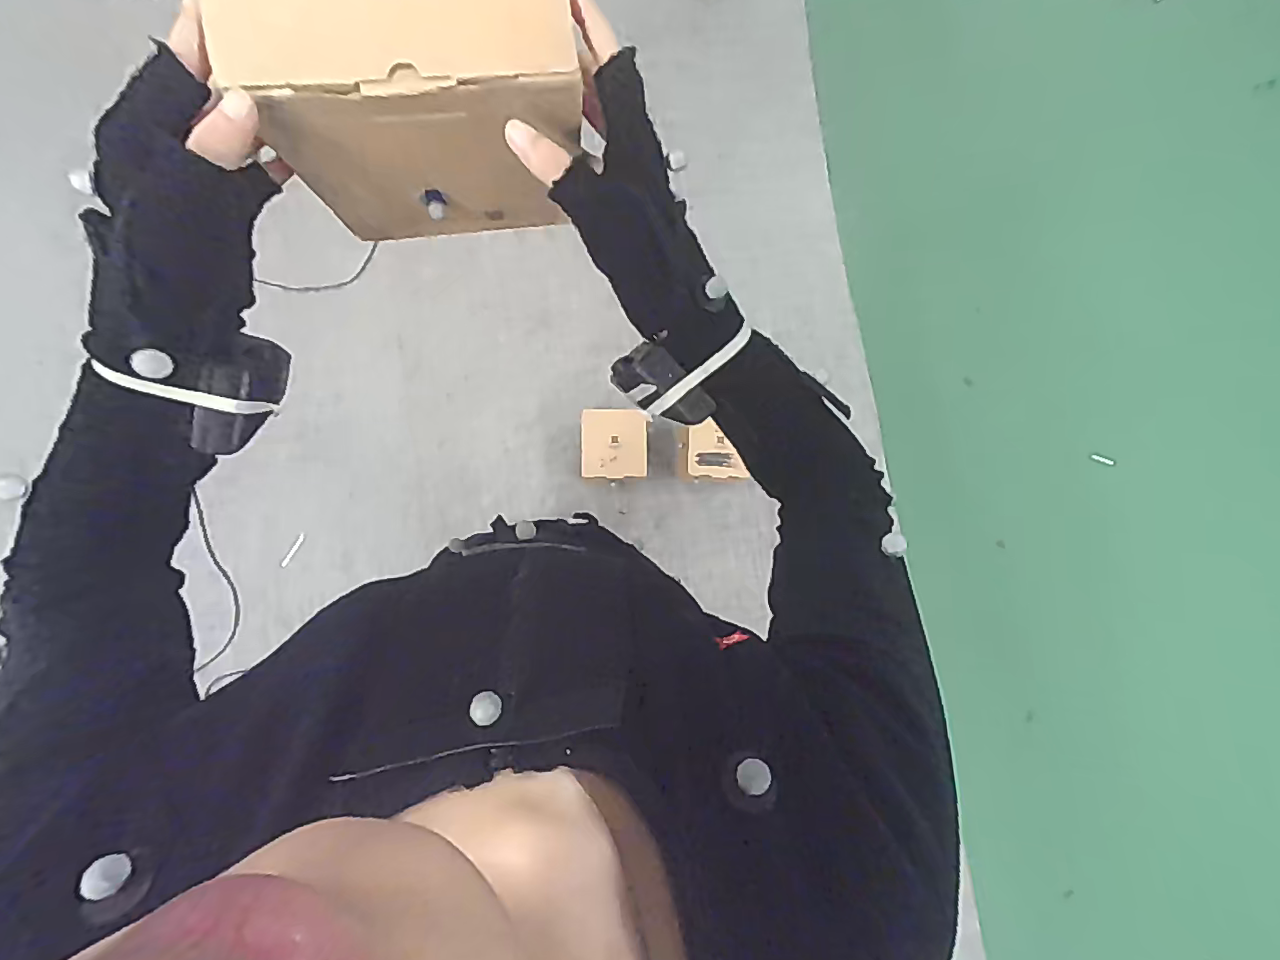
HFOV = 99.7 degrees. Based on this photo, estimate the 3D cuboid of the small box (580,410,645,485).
[{"bbox_3d":[-0.076,-0.082,1.430,0.168,0.176,0.179,0,85,-5],"label":"small box"}]
